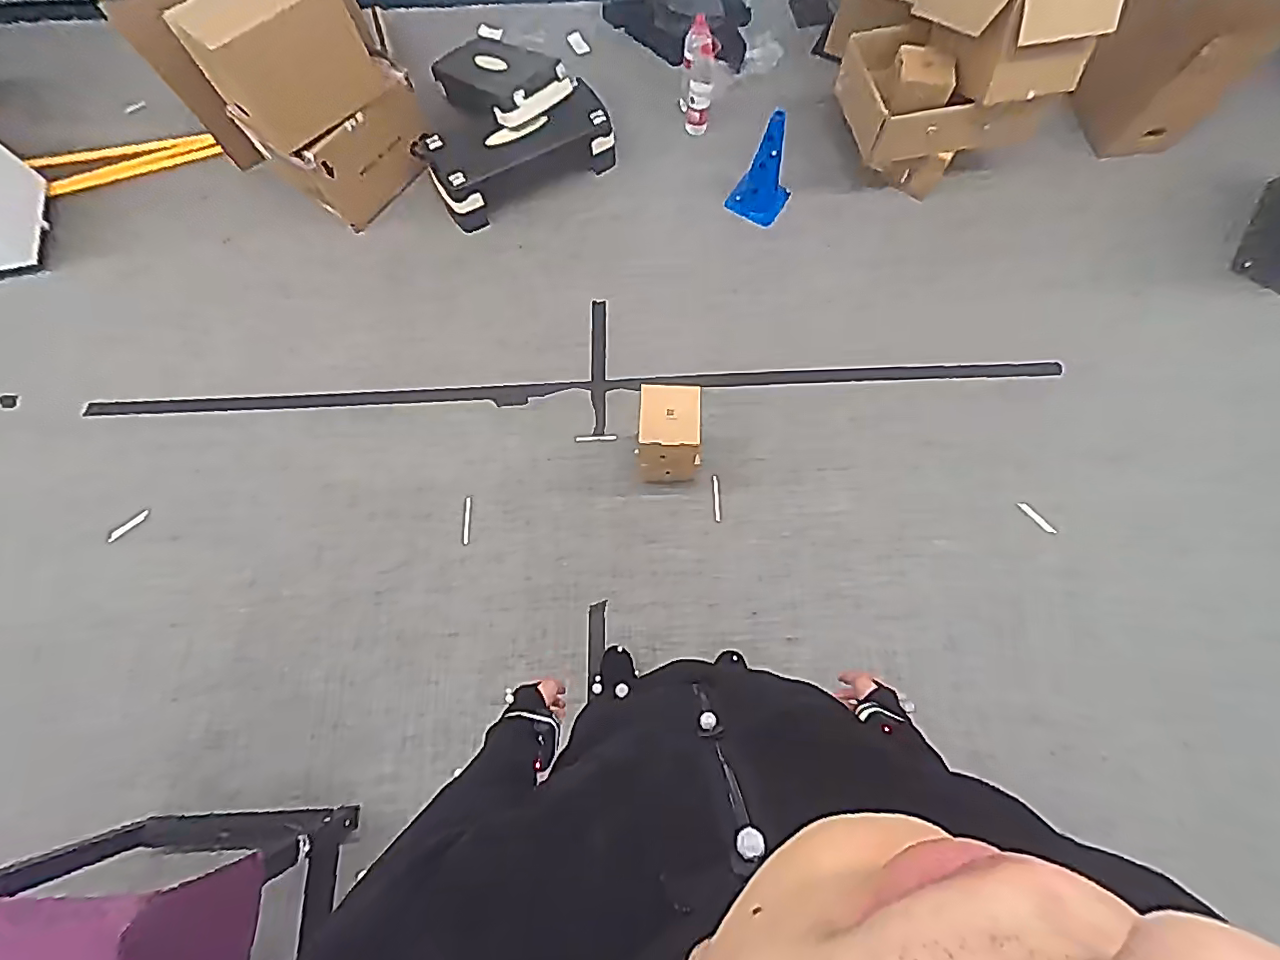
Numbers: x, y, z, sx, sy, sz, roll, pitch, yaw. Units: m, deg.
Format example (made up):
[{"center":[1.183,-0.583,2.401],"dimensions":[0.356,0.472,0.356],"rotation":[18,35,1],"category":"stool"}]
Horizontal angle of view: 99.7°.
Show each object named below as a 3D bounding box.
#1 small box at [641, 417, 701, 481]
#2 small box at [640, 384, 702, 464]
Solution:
[{"center":[0.093,-0.100,1.709],"dimensions":[0.179,0.176,0.168],"rotation":[-3,73,0],"category":"small box"},{"center":[0.087,-0.158,1.556],"dimensions":[0.168,0.176,0.179],"rotation":[2,74,1],"category":"small box"}]
